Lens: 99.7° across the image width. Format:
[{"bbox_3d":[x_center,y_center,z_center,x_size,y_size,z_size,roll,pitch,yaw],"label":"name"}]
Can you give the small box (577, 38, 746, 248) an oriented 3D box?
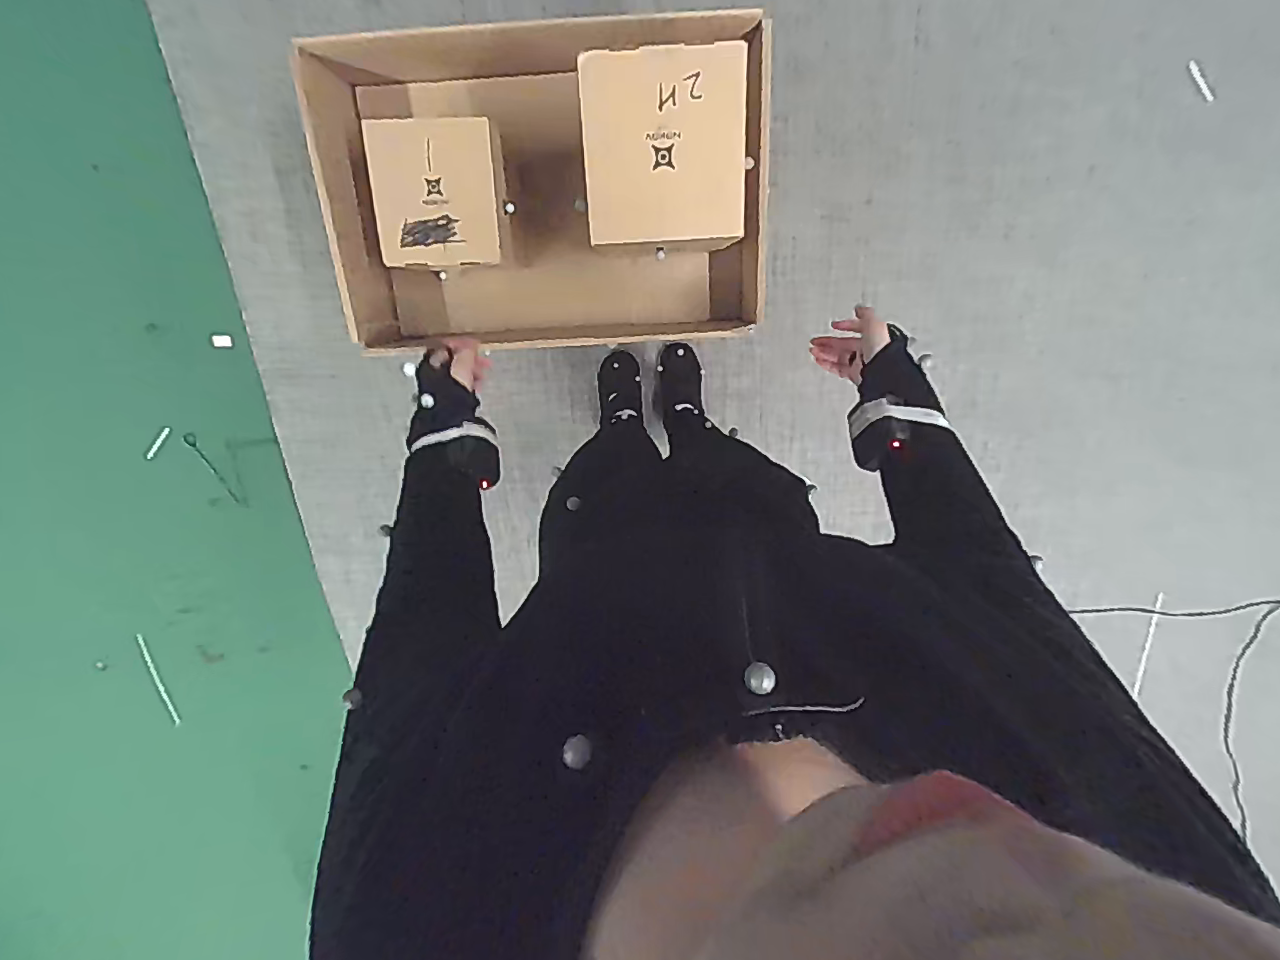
[{"bbox_3d":[0.025,-0.365,0.621,0.168,0.176,0.179,-2,109,2],"label":"small box"}]
